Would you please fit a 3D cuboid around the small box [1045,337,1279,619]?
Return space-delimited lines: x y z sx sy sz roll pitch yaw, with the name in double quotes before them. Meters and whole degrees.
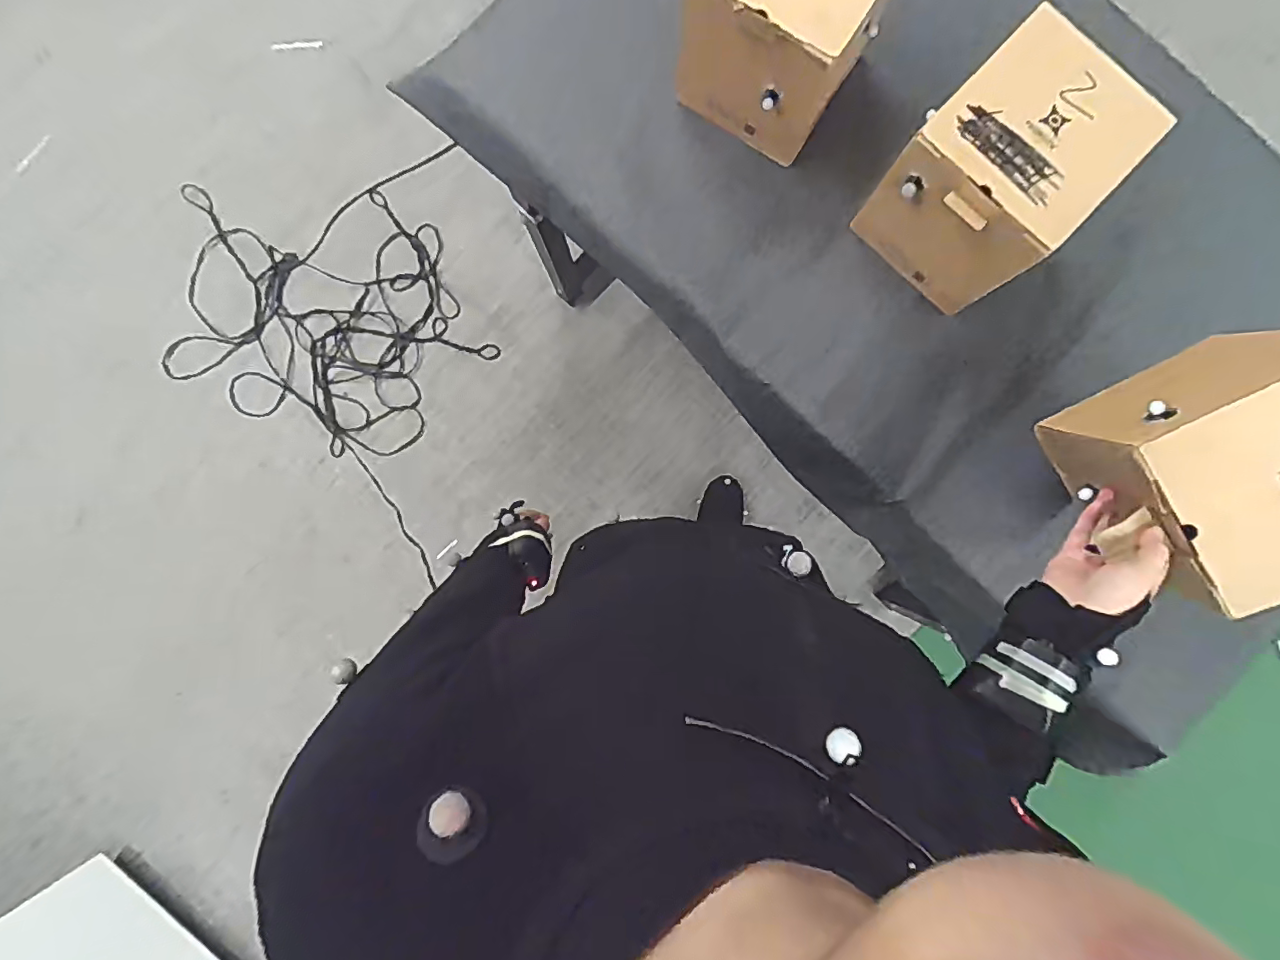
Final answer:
"small box" 0.518 -0.015 0.476 0.179 0.176 0.168 -31 93 17

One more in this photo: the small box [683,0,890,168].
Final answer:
"small box" 0.158 -0.491 0.587 0.168 0.176 0.179 33 87 1
